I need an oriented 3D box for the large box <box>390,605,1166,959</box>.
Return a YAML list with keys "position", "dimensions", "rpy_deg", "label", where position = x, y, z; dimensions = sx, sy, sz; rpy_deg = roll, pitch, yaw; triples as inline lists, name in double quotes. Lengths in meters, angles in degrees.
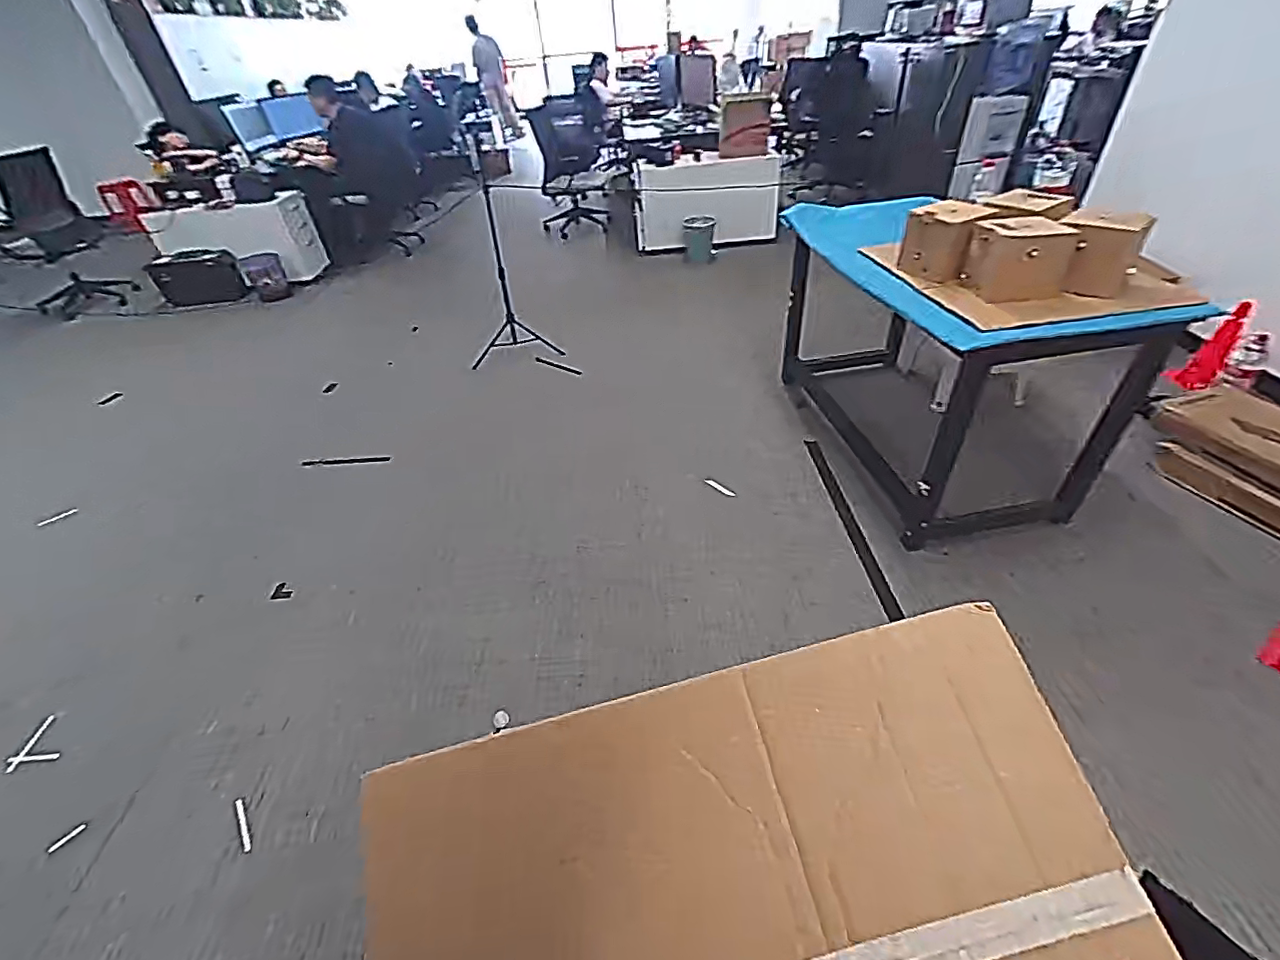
- position: [0.080, 0.328, 0.422]
  dimensions: [0.408, 0.320, 0.320]
  rpy_deg: [-15, 67, -2]
  label: "large box"
